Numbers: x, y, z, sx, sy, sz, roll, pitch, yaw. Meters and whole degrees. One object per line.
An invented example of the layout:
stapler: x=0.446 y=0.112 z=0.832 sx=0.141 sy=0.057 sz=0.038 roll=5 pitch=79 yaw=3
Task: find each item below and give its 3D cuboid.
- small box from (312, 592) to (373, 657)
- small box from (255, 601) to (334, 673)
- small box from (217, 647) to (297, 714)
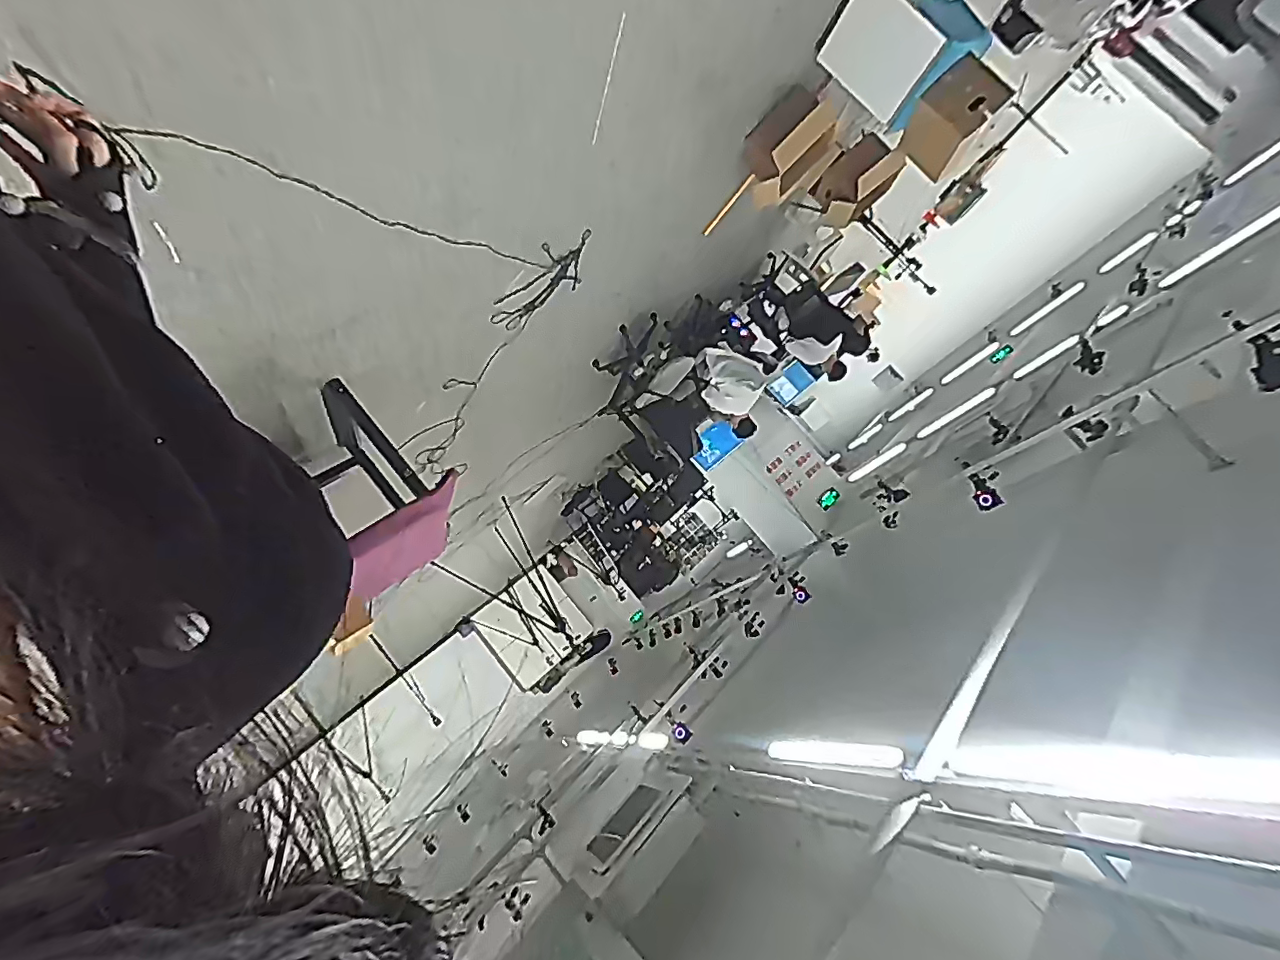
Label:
small box: x=-1.214 y=0.581 z=2.195 sx=0.168 sy=0.176 sz=0.179 roll=-35 pitch=171 yaw=-41
small box: x=-1.226 y=0.556 z=1.923 sx=0.168 sy=0.176 sz=0.179 roll=-37 pitch=173 yaw=-31
small box: x=-1.434 y=0.750 z=2.023 sx=0.168 sy=0.176 sz=0.179 roll=-37 pitch=174 yaw=-29
